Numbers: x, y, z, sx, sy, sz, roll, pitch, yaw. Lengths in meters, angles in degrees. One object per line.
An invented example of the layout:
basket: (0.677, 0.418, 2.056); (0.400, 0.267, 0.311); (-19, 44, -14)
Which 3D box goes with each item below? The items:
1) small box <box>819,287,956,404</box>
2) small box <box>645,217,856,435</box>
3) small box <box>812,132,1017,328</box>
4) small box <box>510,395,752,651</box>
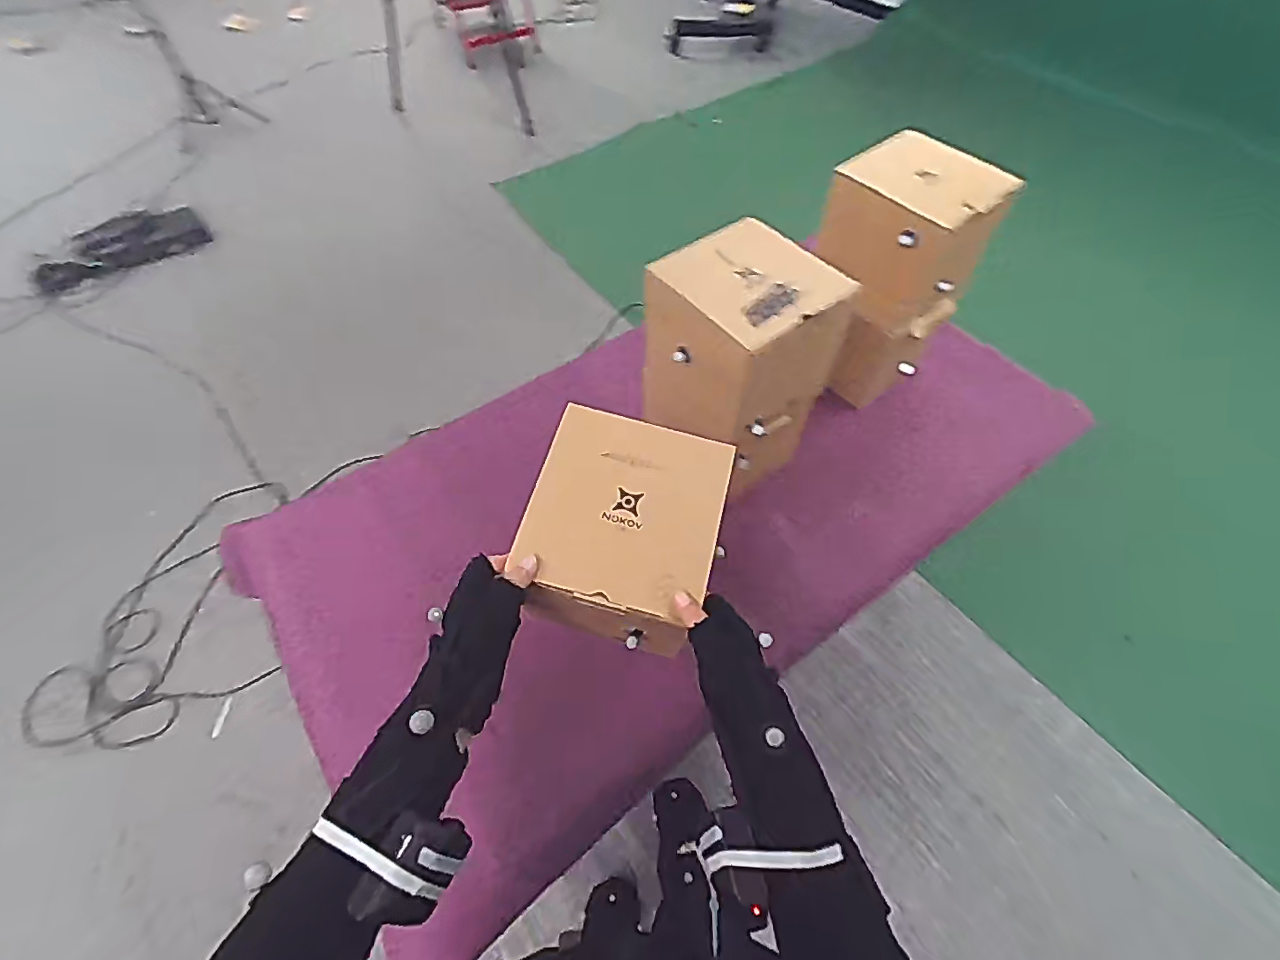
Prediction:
small box: (0.373, -0.262, 0.909); (0.168, 0.176, 0.179); (-36, 65, -19)
small box: (0.122, -0.178, 0.663); (0.168, 0.176, 0.179); (-32, 62, -19)
small box: (0.372, -0.353, 0.773); (0.168, 0.176, 0.179); (-35, 65, -20)
small box: (-0.006, 0.052, 0.523); (0.168, 0.176, 0.179); (16, 64, 3)
